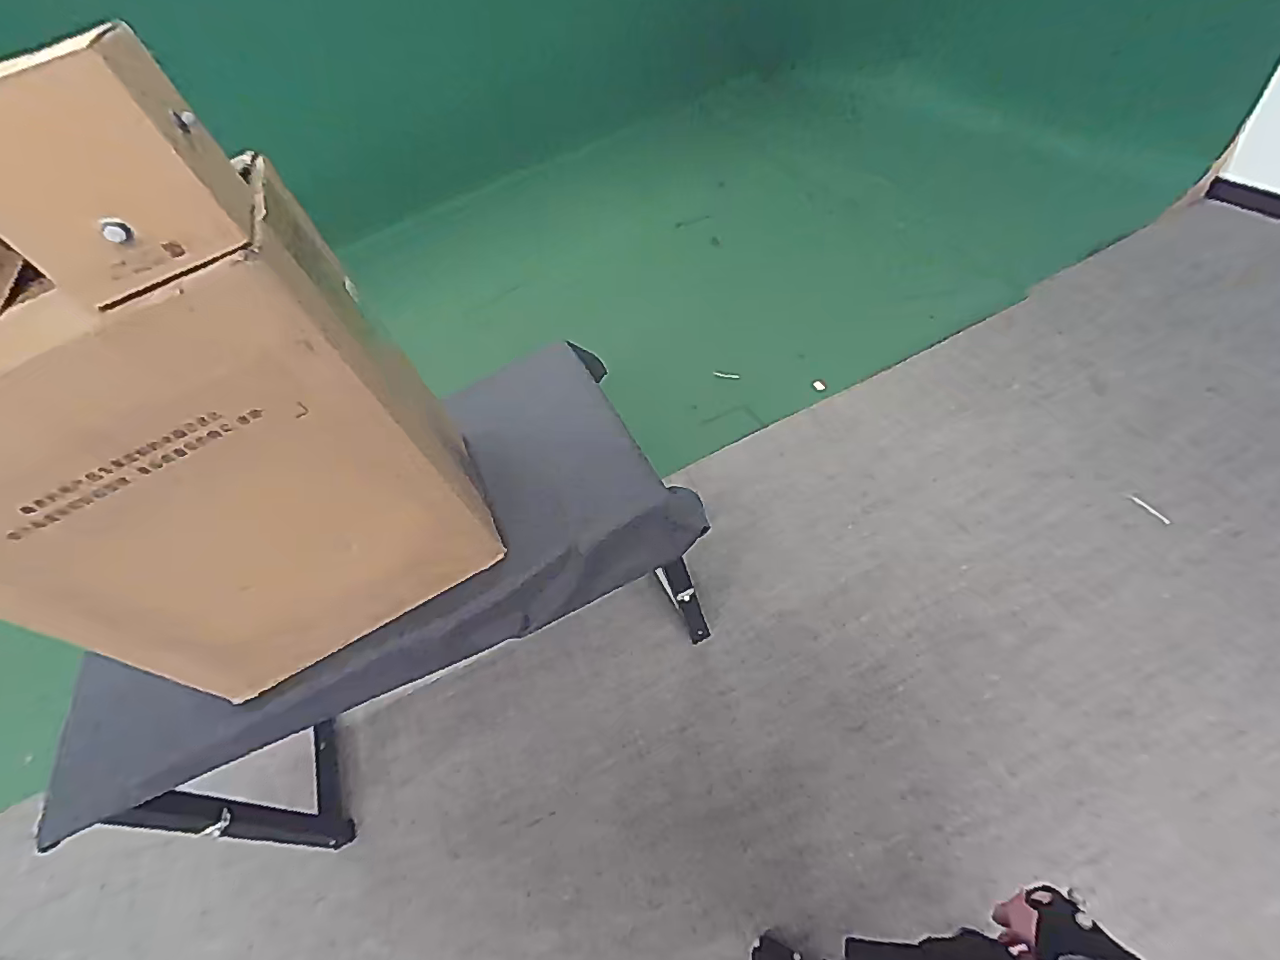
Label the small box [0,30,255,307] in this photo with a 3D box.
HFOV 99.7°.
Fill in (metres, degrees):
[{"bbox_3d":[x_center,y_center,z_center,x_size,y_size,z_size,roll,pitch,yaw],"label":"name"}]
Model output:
[{"bbox_3d":[-0.515,-0.301,0.530,0.168,0.176,0.179,-28,51,-7],"label":"small box"}]
